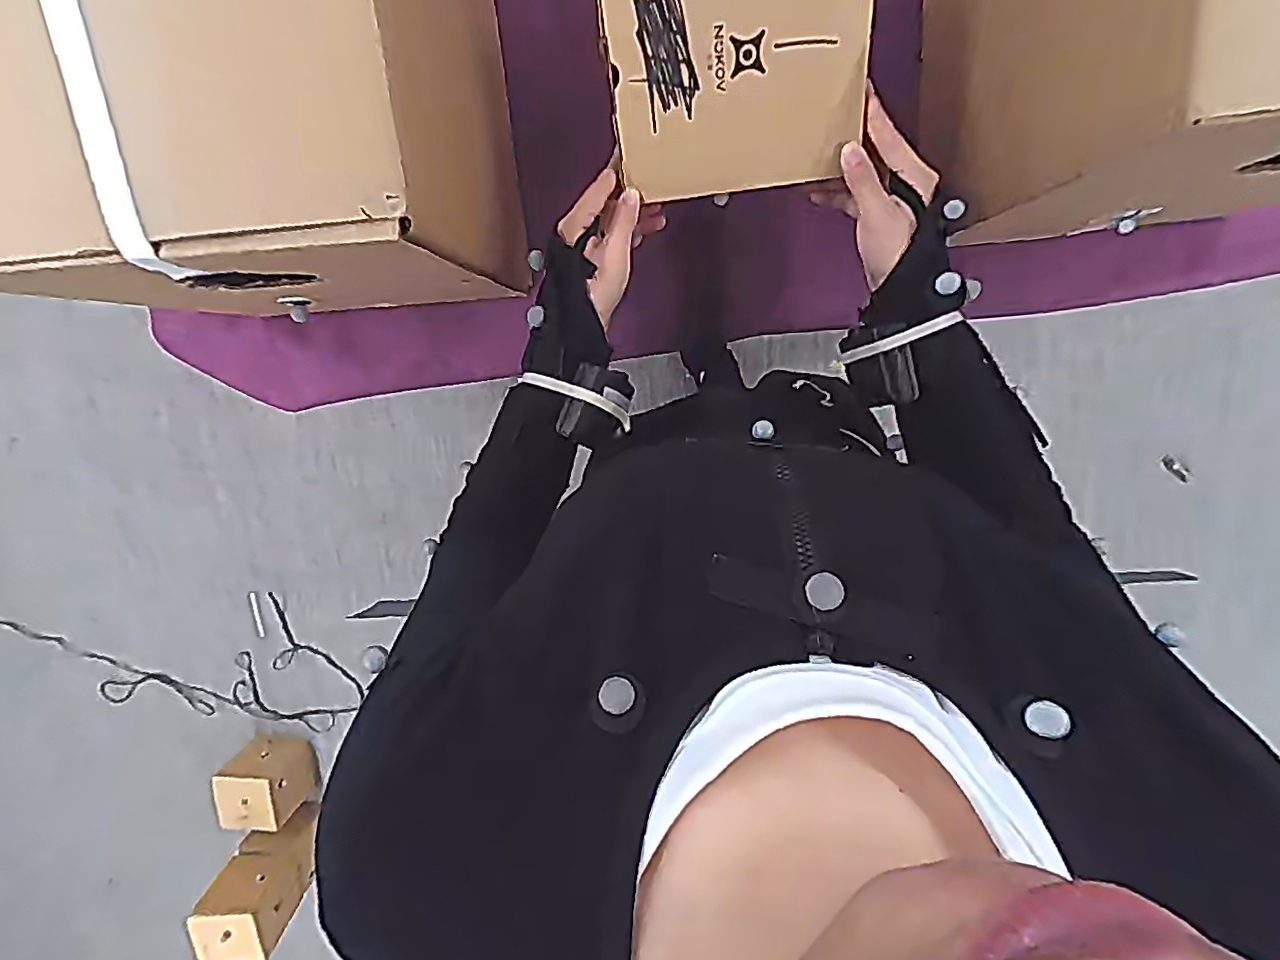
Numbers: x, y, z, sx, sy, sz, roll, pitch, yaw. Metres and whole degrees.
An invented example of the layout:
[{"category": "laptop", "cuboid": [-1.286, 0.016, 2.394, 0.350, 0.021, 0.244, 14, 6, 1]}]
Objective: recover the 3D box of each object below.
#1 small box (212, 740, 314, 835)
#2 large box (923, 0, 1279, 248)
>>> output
[{"category": "small box", "cuboid": [-1.078, 0.880, 1.560, 0.168, 0.176, 0.179, 2, 104, 4]}, {"category": "large box", "cuboid": [0.406, -0.412, 0.355, 0.320, 0.320, 0.408, -5, 101, 4]}]
